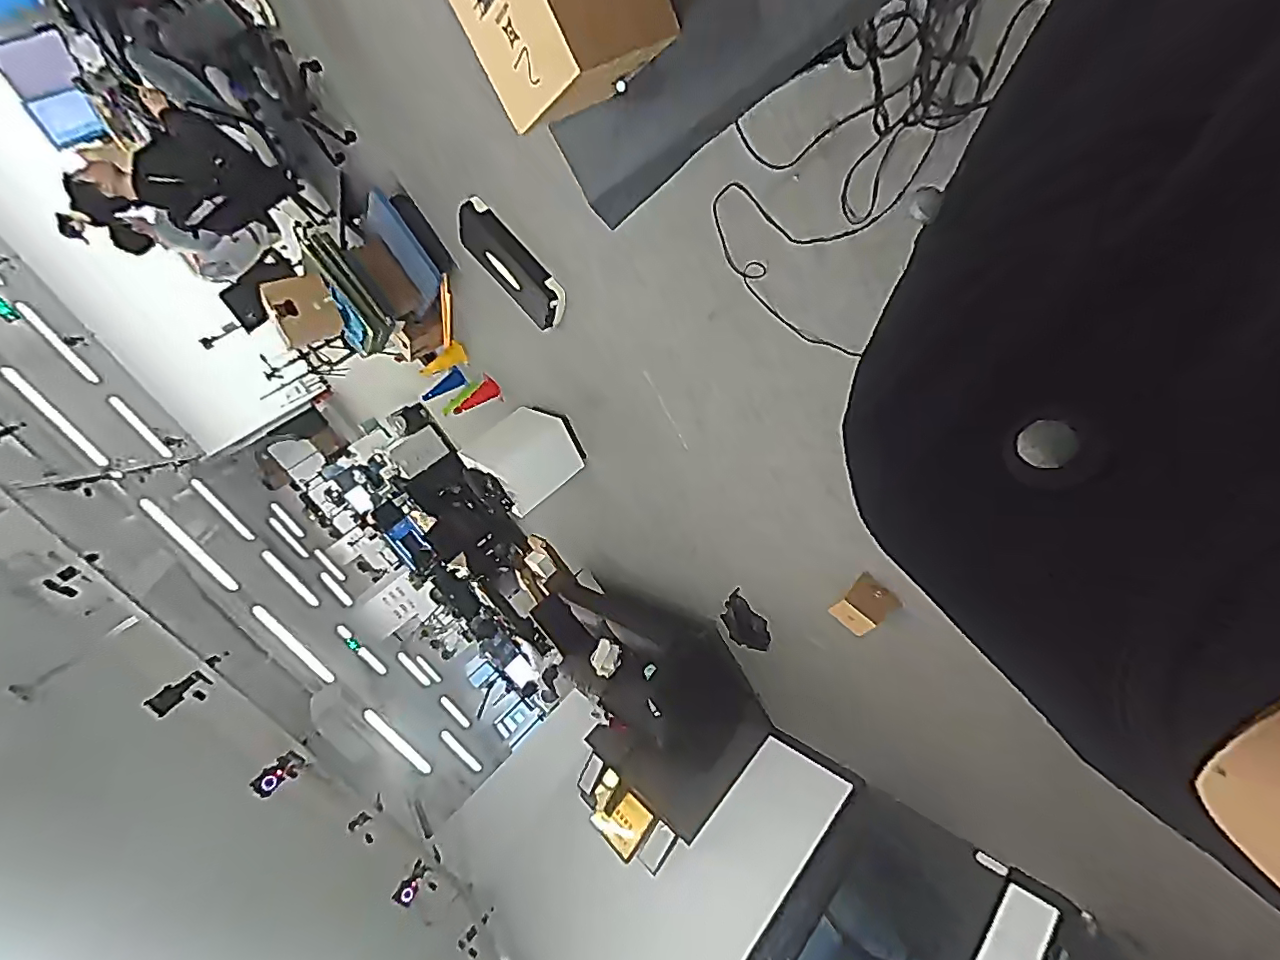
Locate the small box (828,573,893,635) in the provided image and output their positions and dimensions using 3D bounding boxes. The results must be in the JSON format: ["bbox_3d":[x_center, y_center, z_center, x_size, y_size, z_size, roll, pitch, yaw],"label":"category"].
[{"bbox_3d":[0.938,0.527,2.296,0.168,0.176,0.179,40,154,16],"label":"small box"}]
